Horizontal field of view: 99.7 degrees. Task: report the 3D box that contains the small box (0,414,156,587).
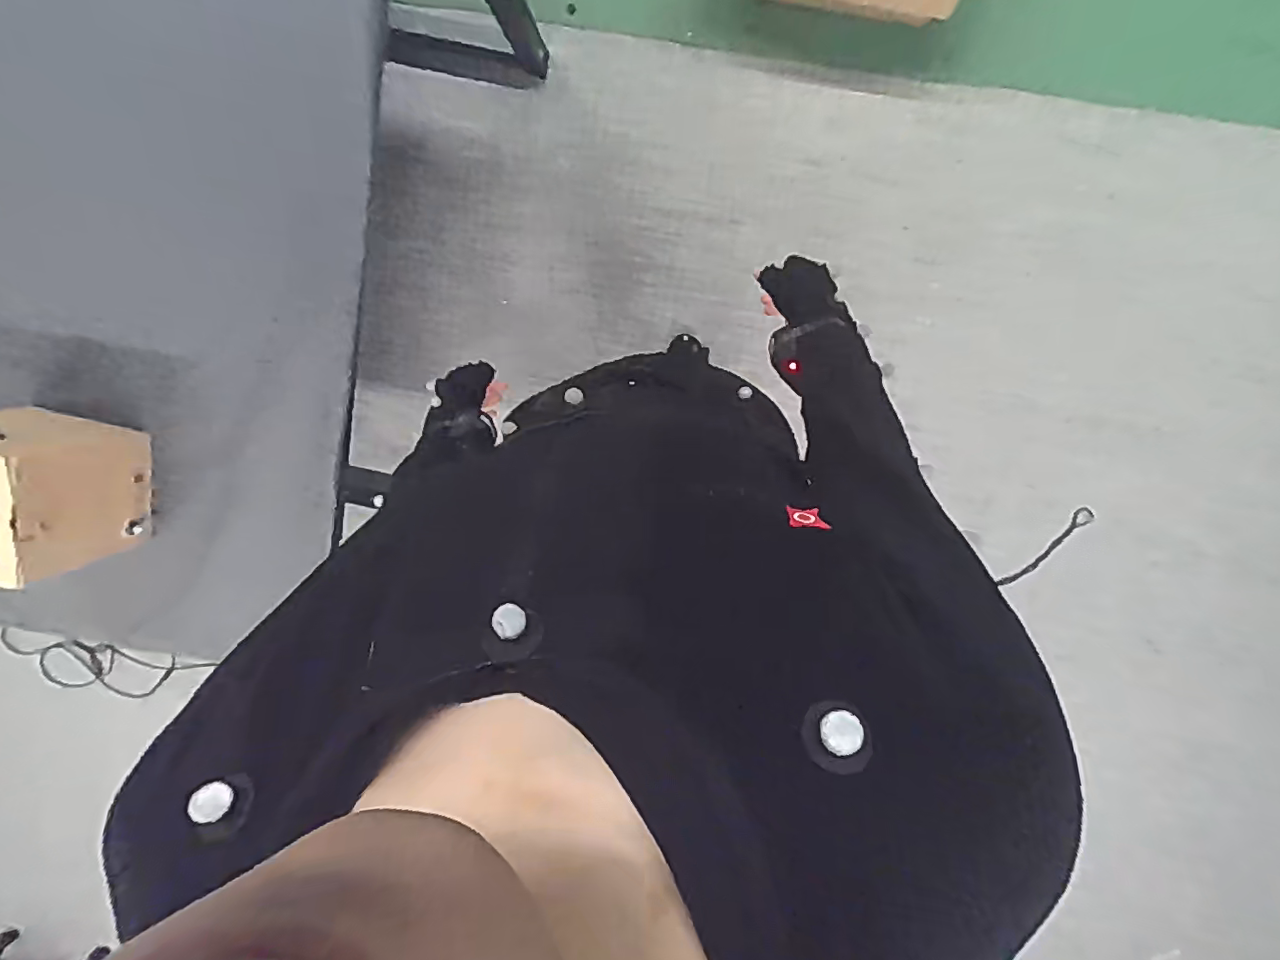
[{"bbox_3d":[-0.780,0.015,0.701,0.179,0.176,0.168,13,103,2],"label":"small box"}]
